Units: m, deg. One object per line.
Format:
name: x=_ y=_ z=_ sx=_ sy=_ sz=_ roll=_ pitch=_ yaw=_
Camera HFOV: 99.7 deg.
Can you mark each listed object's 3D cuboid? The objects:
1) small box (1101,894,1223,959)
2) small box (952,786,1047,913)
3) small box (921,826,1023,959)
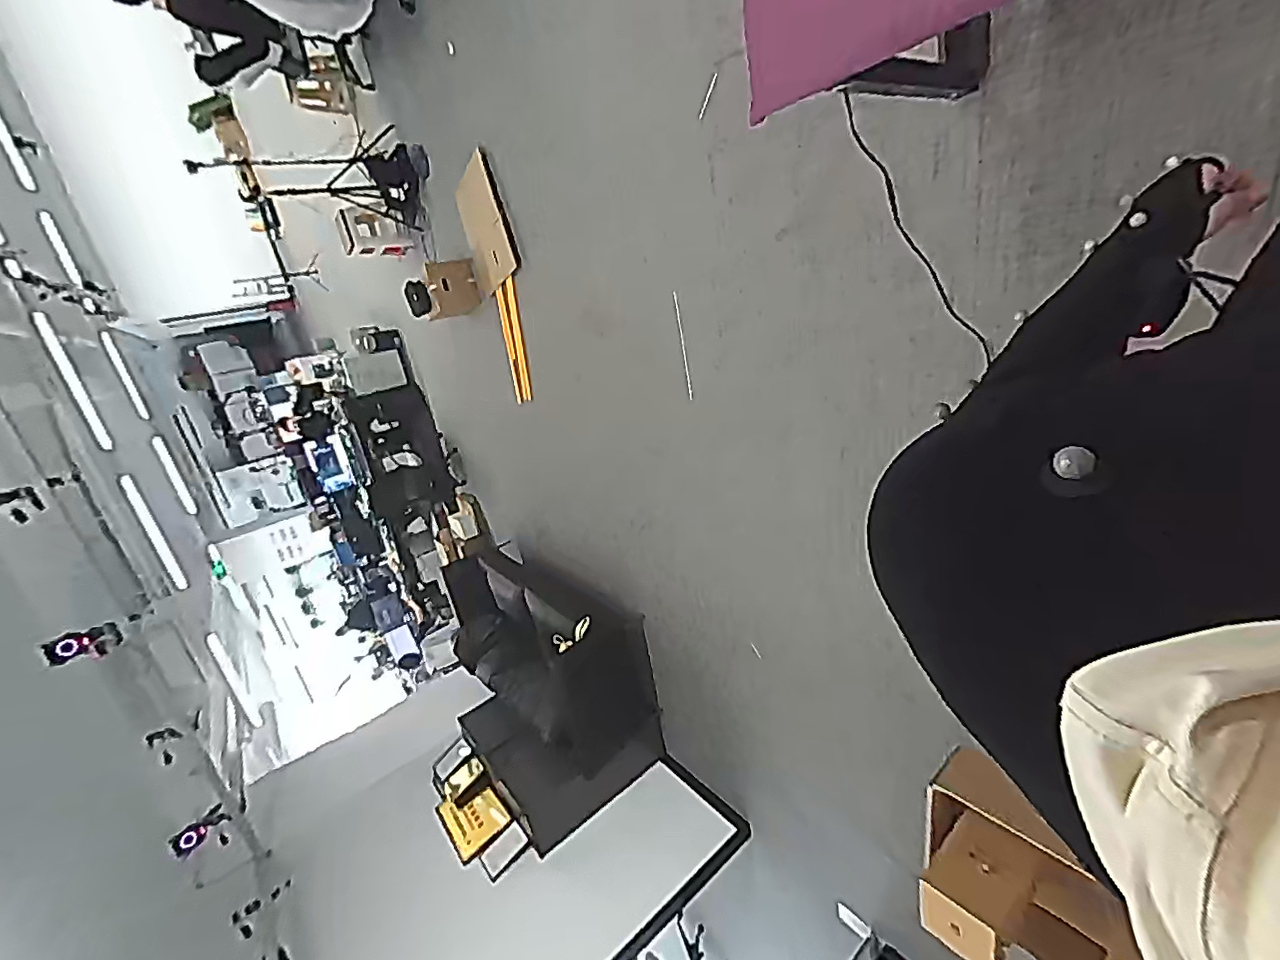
small box: x=1.145 y=1.087 z=1.197 sx=0.168 sy=0.176 sz=0.179 roll=18 pitch=125 yaw=49
small box: x=0.931 y=0.948 z=1.405 sx=0.168 sy=0.176 sz=0.179 roll=16 pitch=124 yaw=50
small box: x=0.807 y=1.005 z=1.315 sx=0.168 sy=0.176 sz=0.179 roll=14 pitch=122 yaw=50
